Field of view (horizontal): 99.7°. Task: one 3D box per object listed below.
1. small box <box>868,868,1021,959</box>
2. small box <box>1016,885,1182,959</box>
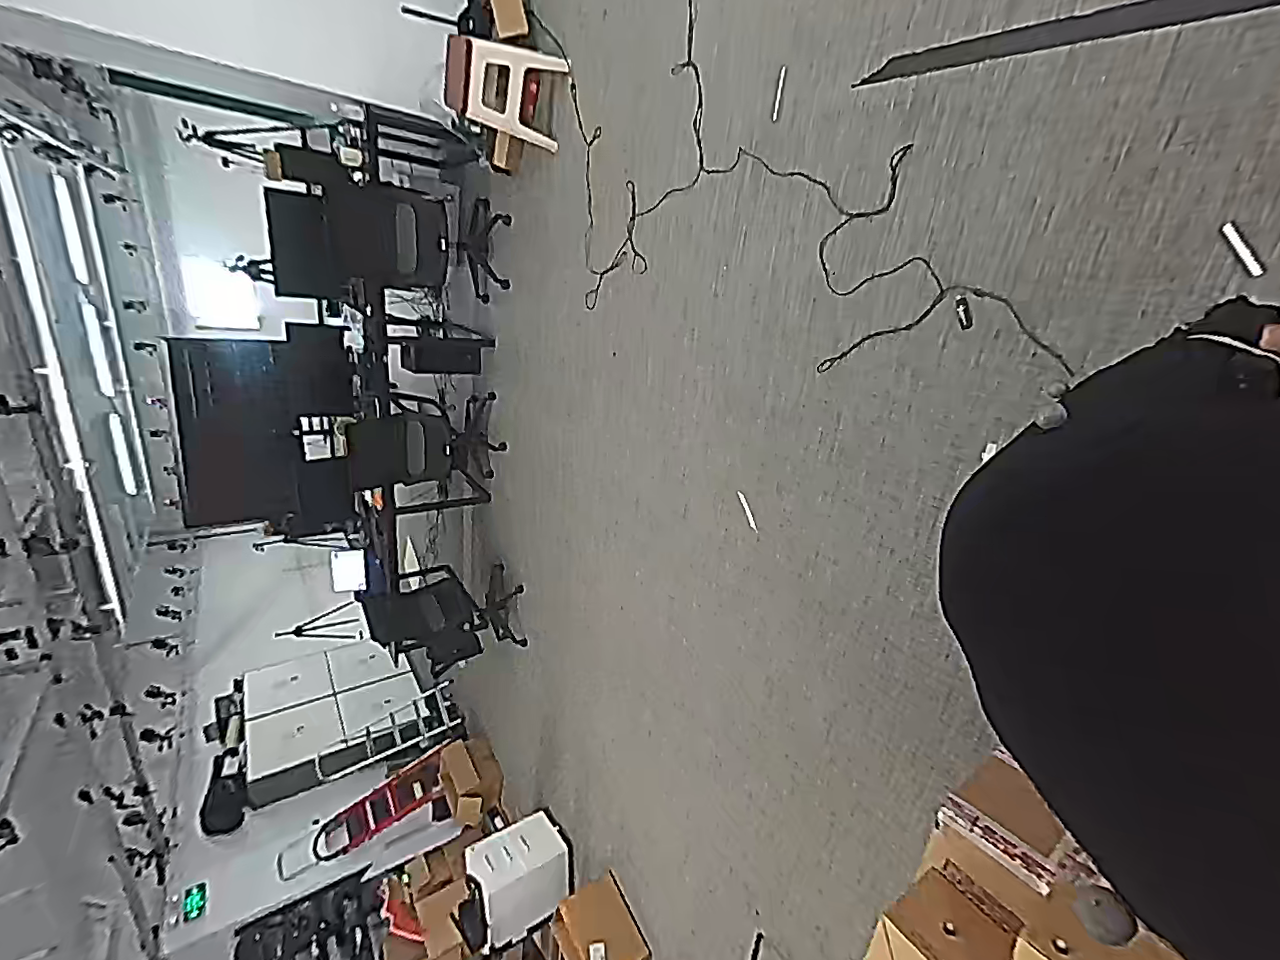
[{"bbox_3d":[0.515,0.830,0.922,0.168,0.176,0.179,31,119,51],"label":"small box"},{"bbox_3d":[0.637,0.720,0.744,0.179,0.176,0.168,21,111,51],"label":"small box"}]
